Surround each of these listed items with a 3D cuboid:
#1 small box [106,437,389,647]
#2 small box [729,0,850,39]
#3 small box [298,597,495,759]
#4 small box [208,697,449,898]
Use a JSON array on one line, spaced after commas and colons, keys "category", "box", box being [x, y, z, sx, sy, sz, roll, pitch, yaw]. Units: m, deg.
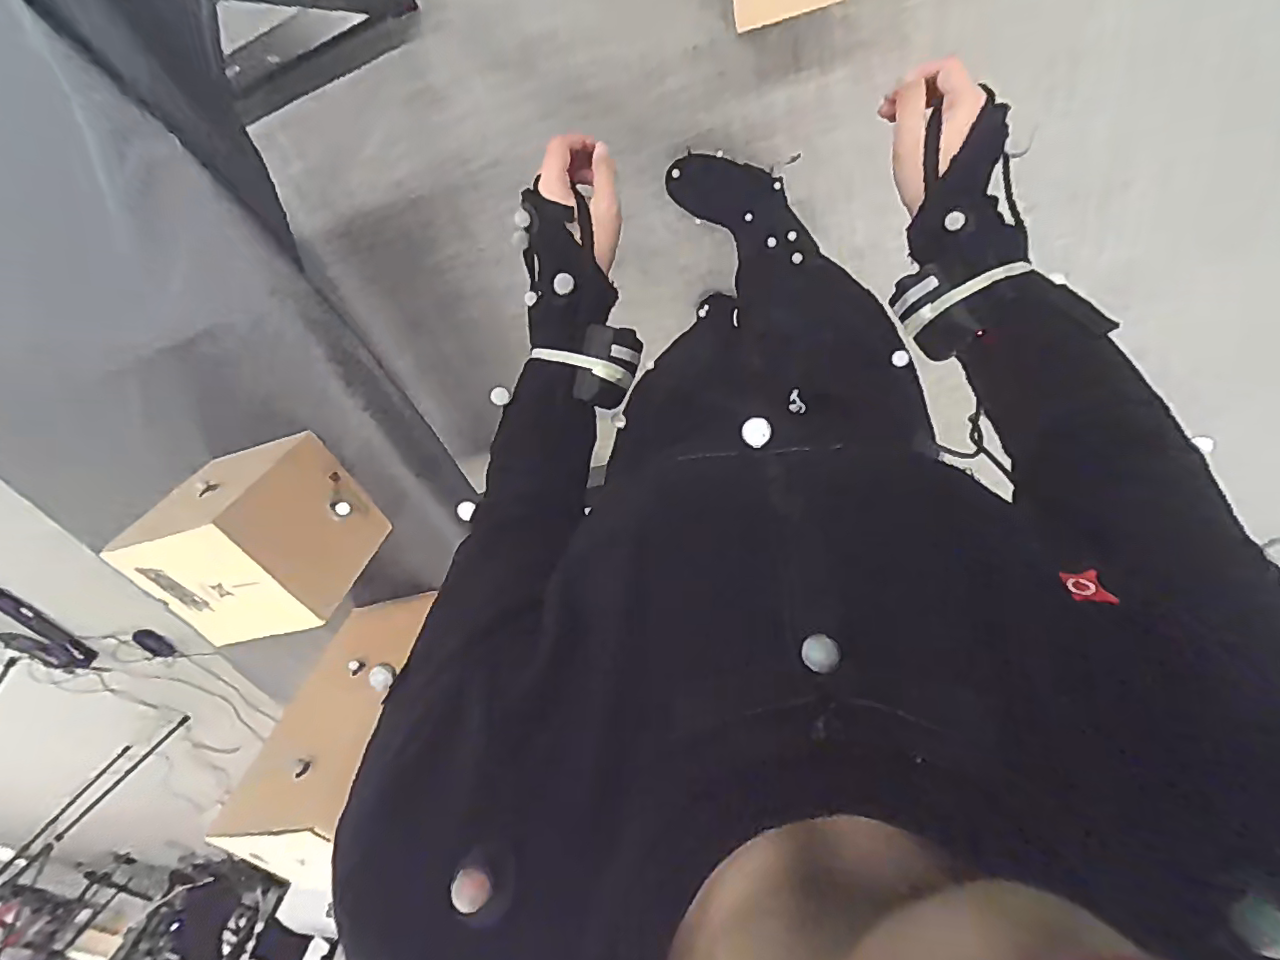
[{"category": "small box", "box": [-0.446, 0.072, 0.647, 0.179, 0.176, 0.168, -13, 125, 17]}, {"category": "small box", "box": [0.215, -0.801, 0.818, 0.168, 0.176, 0.179, -8, 127, 14]}, {"category": "small box", "box": [-0.351, 0.301, 0.815, 0.179, 0.176, 0.168, -15, 124, 18]}, {"category": "small box", "box": [-0.367, 0.396, 0.682, 0.179, 0.176, 0.168, -17, 123, 18]}]
